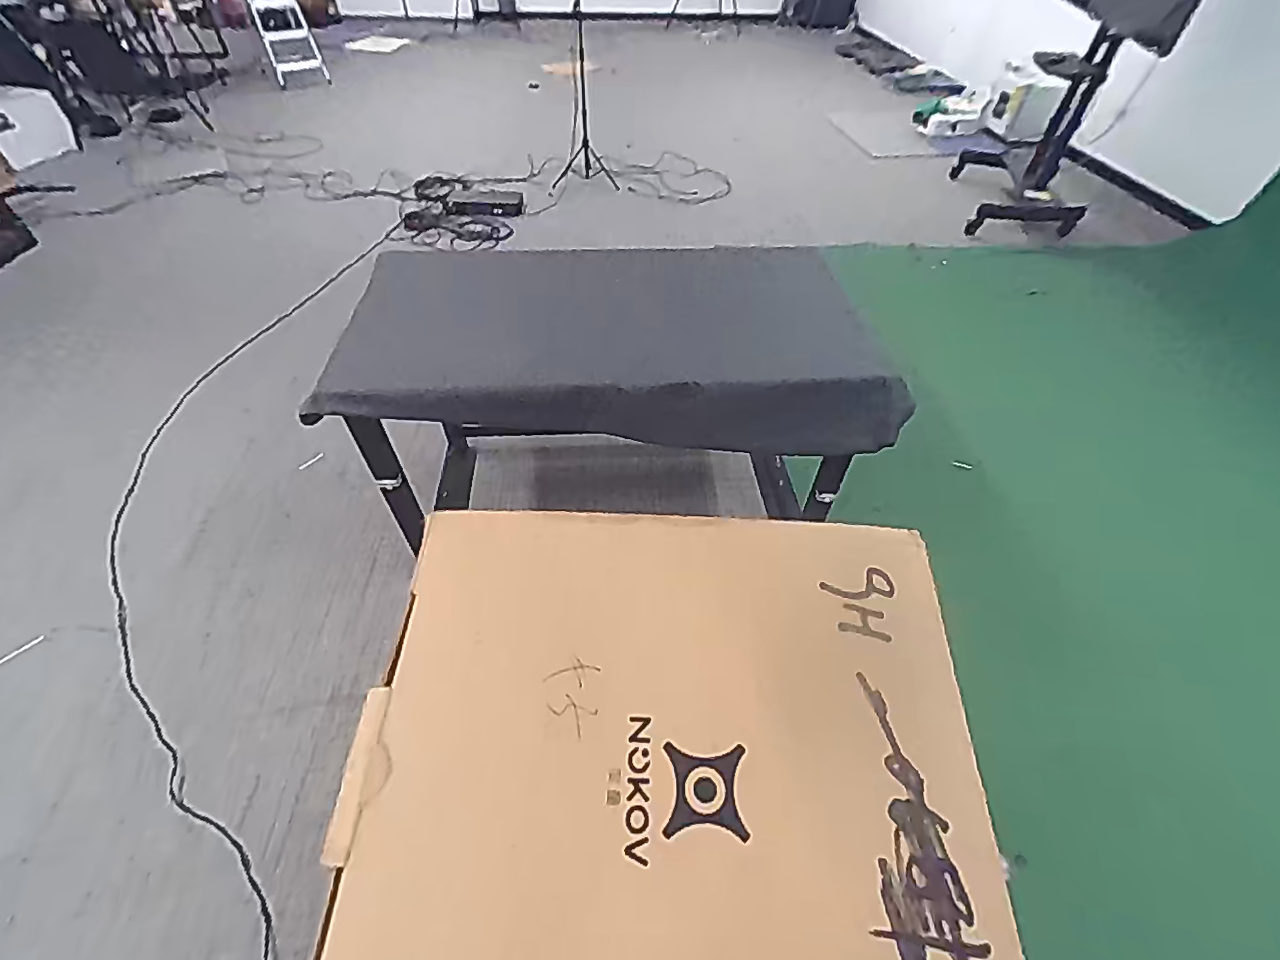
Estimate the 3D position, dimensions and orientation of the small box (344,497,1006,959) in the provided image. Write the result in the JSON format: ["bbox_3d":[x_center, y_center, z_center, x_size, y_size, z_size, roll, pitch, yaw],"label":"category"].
[{"bbox_3d":[0.008,0.119,0.238,0.179,0.176,0.168,0,60,-2],"label":"small box"}]
